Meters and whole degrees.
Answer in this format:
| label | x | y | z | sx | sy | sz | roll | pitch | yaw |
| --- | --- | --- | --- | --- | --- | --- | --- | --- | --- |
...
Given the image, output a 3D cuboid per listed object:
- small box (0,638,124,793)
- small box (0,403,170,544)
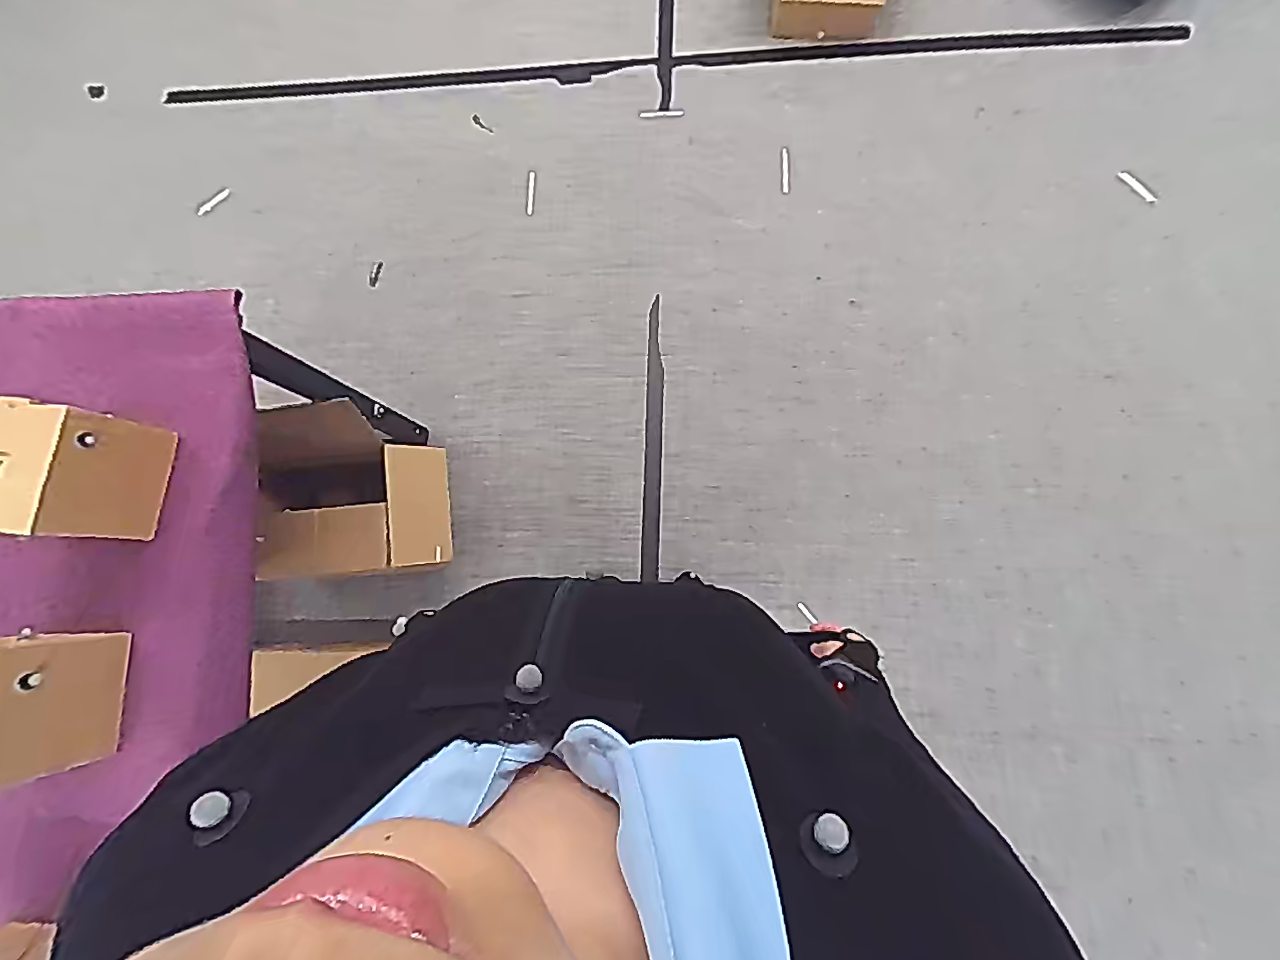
| label | x | y | z | sx | sy | sz | roll | pitch | yaw |
| --- | --- | --- | --- | --- | --- | --- | --- | --- | --- |
| small box | -0.858 | 0.310 | 0.729 | 0.168 | 0.176 | 0.179 | -2 | 80 | 6 |
| small box | -0.840 | -0.004 | 0.783 | 0.168 | 0.176 | 0.179 | 5 | 80 | 5 |
